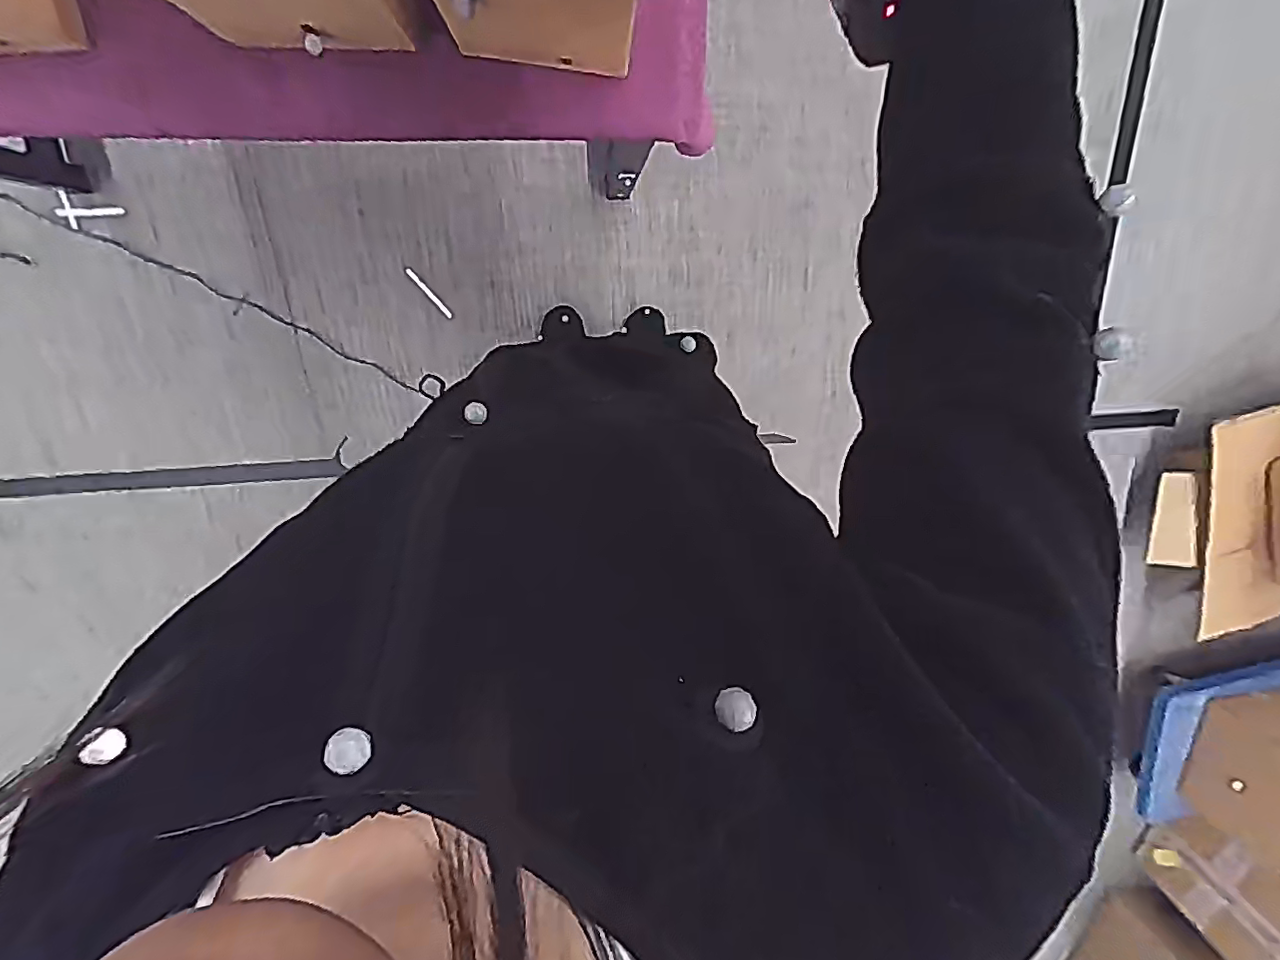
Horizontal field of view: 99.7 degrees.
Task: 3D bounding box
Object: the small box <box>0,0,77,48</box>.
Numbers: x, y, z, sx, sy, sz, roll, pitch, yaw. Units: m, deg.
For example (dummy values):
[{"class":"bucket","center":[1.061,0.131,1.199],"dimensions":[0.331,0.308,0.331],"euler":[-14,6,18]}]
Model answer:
[{"class":"small box","center":[-0.585,-0.444,0.390],"dimensions":[0.168,0.176,0.179],"euler":[-6,109,-5]}]
